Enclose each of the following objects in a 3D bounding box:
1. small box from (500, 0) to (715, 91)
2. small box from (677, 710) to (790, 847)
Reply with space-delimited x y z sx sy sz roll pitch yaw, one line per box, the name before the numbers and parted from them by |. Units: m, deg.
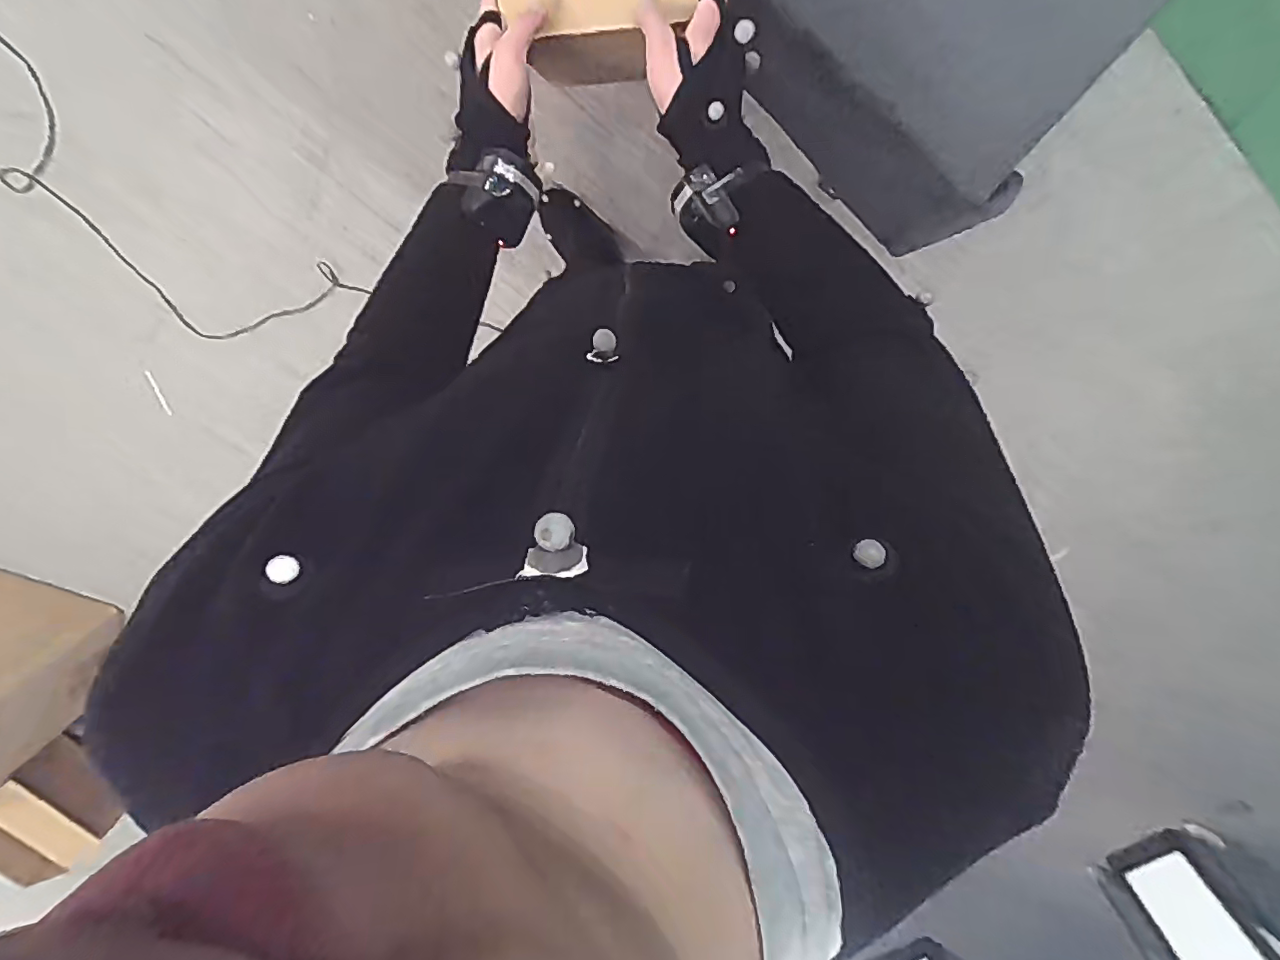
small box | -0.024 -0.474 0.484 0.179 0.176 0.168 -1 112 8
small box | 0.198 0.647 1.184 0.168 0.176 0.179 36 111 -13
